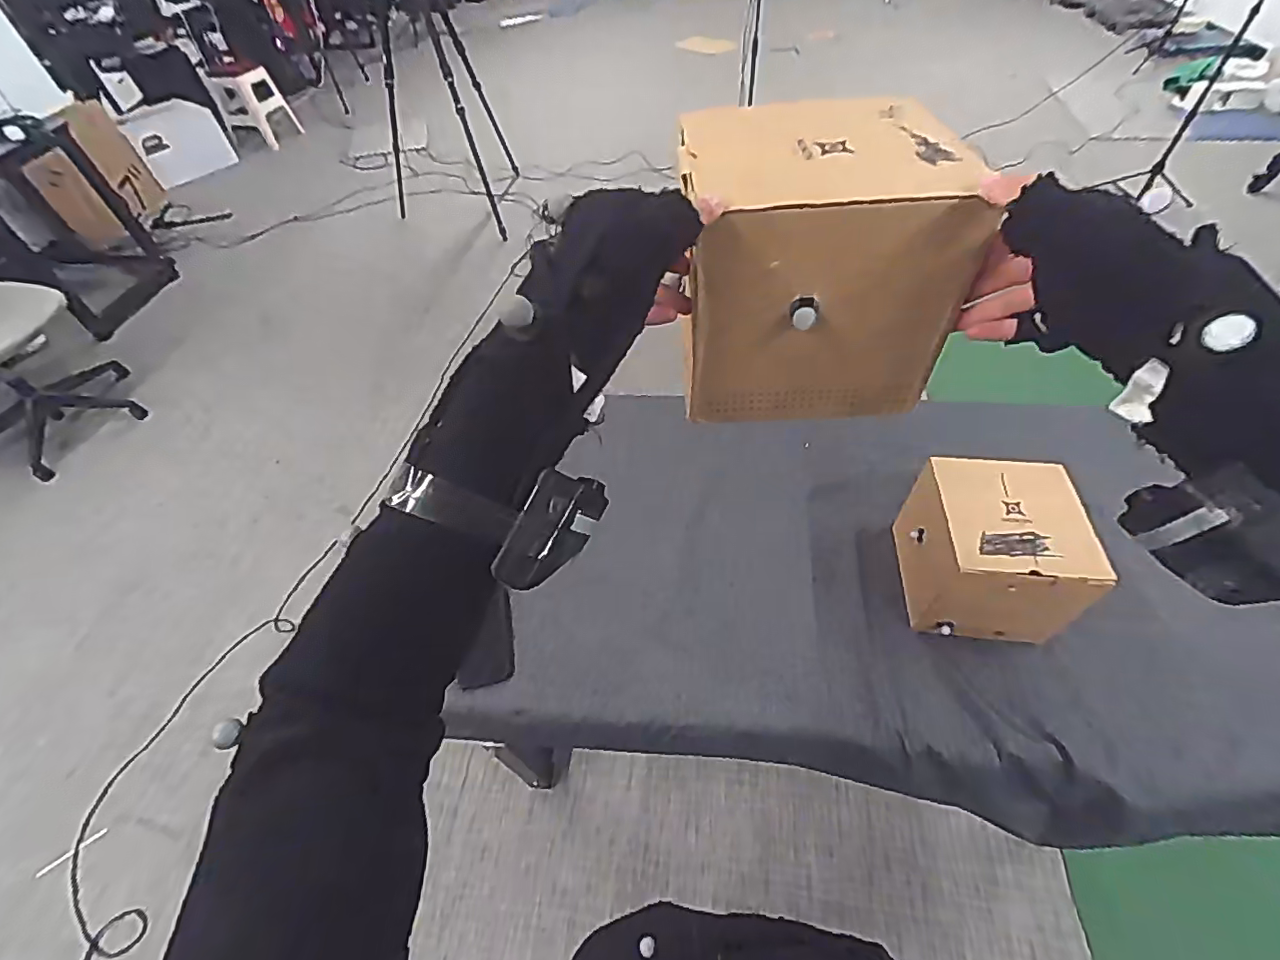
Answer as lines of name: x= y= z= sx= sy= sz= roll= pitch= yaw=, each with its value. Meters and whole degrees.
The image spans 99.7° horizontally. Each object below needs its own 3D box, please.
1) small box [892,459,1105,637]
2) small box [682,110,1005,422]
small box: x=0.460 y=0.094 z=0.730 sx=0.168 sy=0.176 sz=0.179 roll=4 pitch=50 yaw=7
small box: x=0.125 y=-0.159 z=0.419 sx=0.179 sy=0.176 sz=0.168 roll=-3 pitch=50 yaw=2
